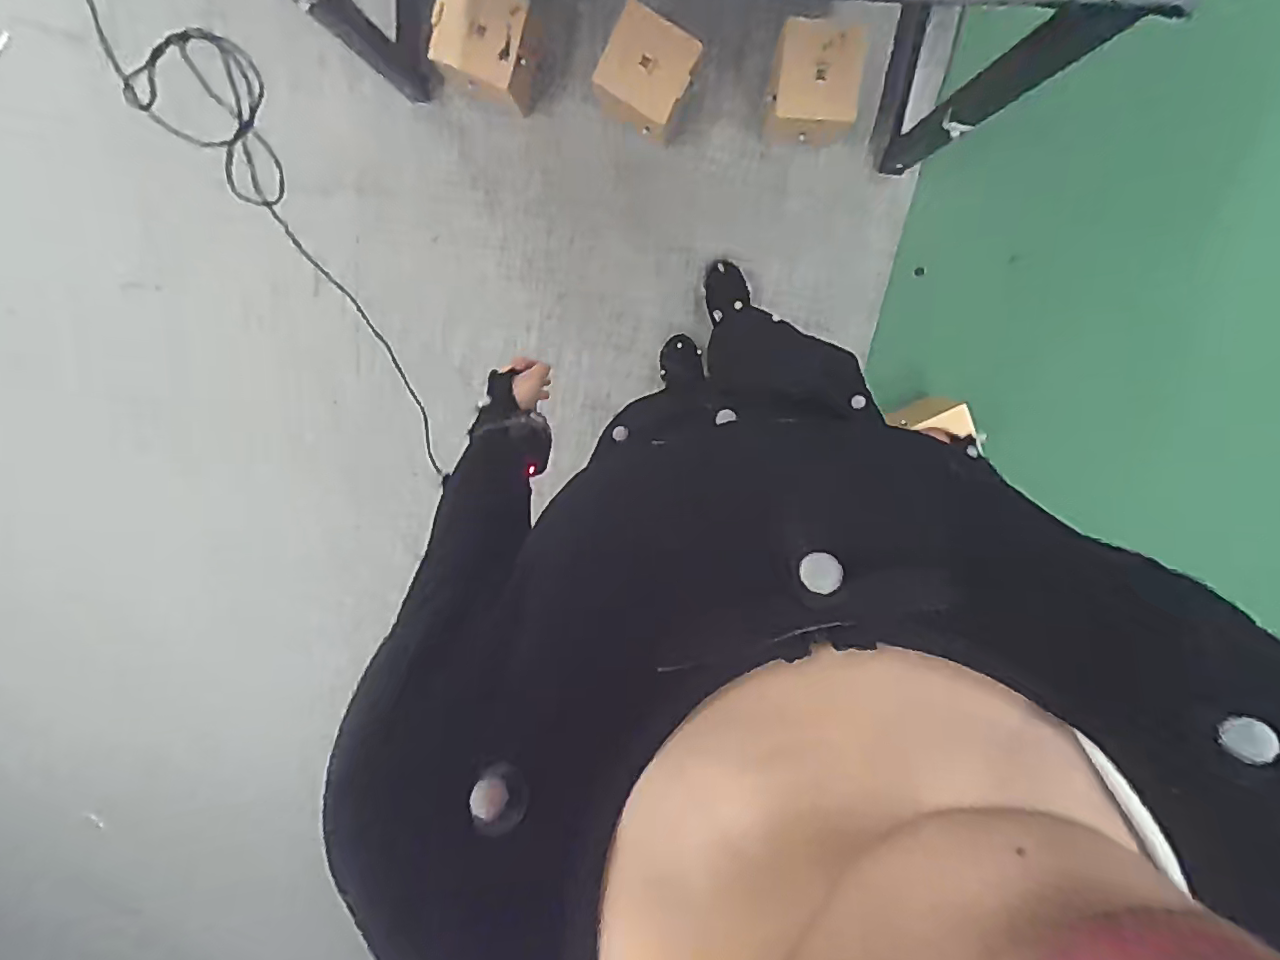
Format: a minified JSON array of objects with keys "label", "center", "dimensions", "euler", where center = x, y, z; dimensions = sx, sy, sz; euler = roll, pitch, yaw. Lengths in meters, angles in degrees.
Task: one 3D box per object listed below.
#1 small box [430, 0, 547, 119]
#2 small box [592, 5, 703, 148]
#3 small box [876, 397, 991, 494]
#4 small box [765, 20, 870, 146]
[{"label":"small box","center":[-0.321,-0.923,1.174],"dimensions":[0.179,0.176,0.168],"euler":[20,106,-2]},{"label":"small box","center":[0.020,-0.857,1.174],"dimensions":[0.179,0.176,0.168],"euler":[28,105,-4]},{"label":"small box","center":[0.728,-0.094,1.358],"dimensions":[0.179,0.176,0.168],"euler":[-26,103,11]},{"label":"small box","center":[0.369,-0.838,1.158],"dimensions":[0.168,0.176,0.179],"euler":[4,106,2]}]
